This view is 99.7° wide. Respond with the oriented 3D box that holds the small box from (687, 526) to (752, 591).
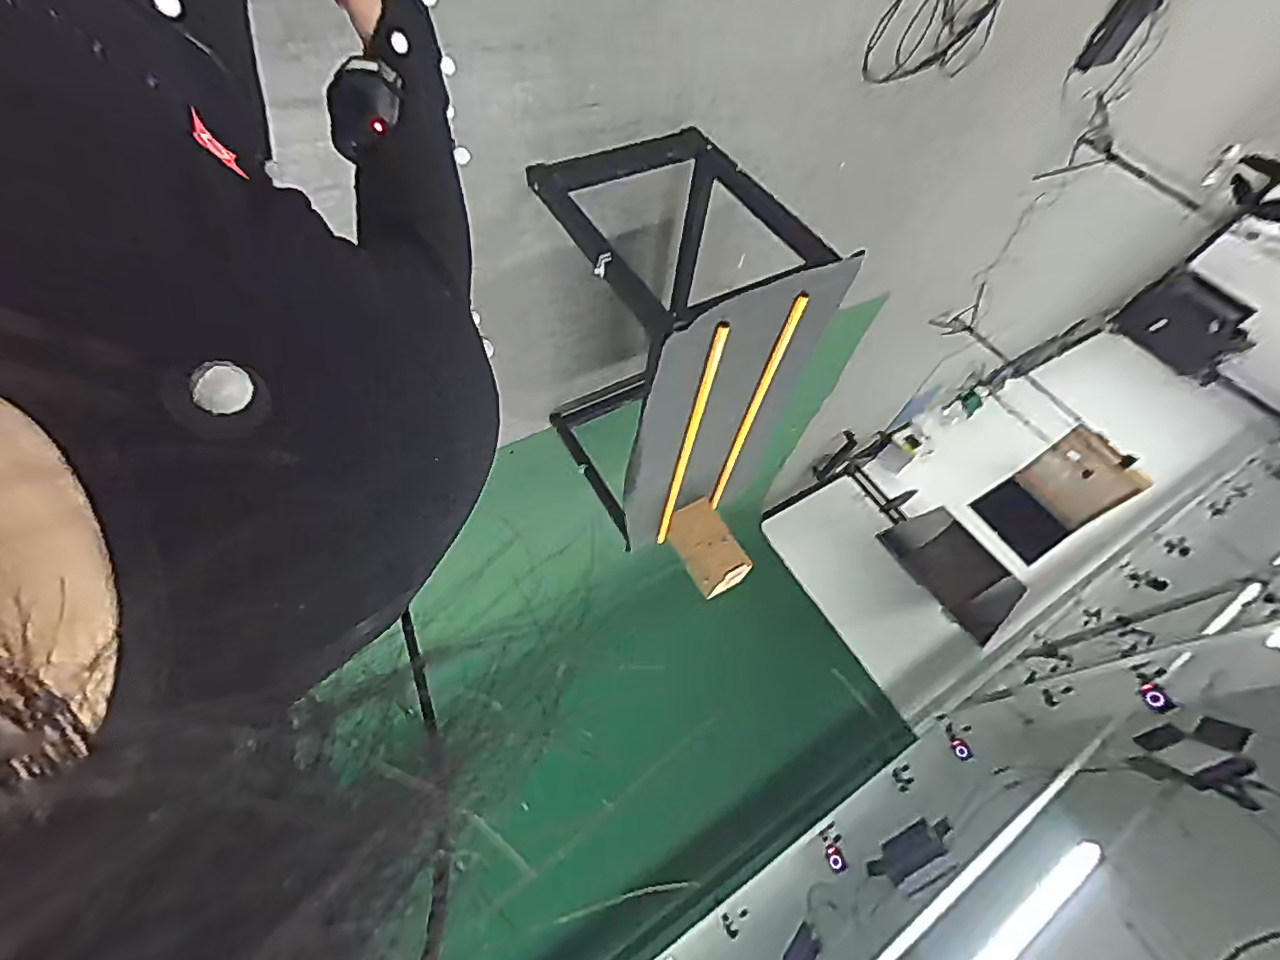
[{"bbox_3d":[0.305,0.302,2.124,0.168,0.176,0.179,-23,154,-23],"label":"small box"}]
